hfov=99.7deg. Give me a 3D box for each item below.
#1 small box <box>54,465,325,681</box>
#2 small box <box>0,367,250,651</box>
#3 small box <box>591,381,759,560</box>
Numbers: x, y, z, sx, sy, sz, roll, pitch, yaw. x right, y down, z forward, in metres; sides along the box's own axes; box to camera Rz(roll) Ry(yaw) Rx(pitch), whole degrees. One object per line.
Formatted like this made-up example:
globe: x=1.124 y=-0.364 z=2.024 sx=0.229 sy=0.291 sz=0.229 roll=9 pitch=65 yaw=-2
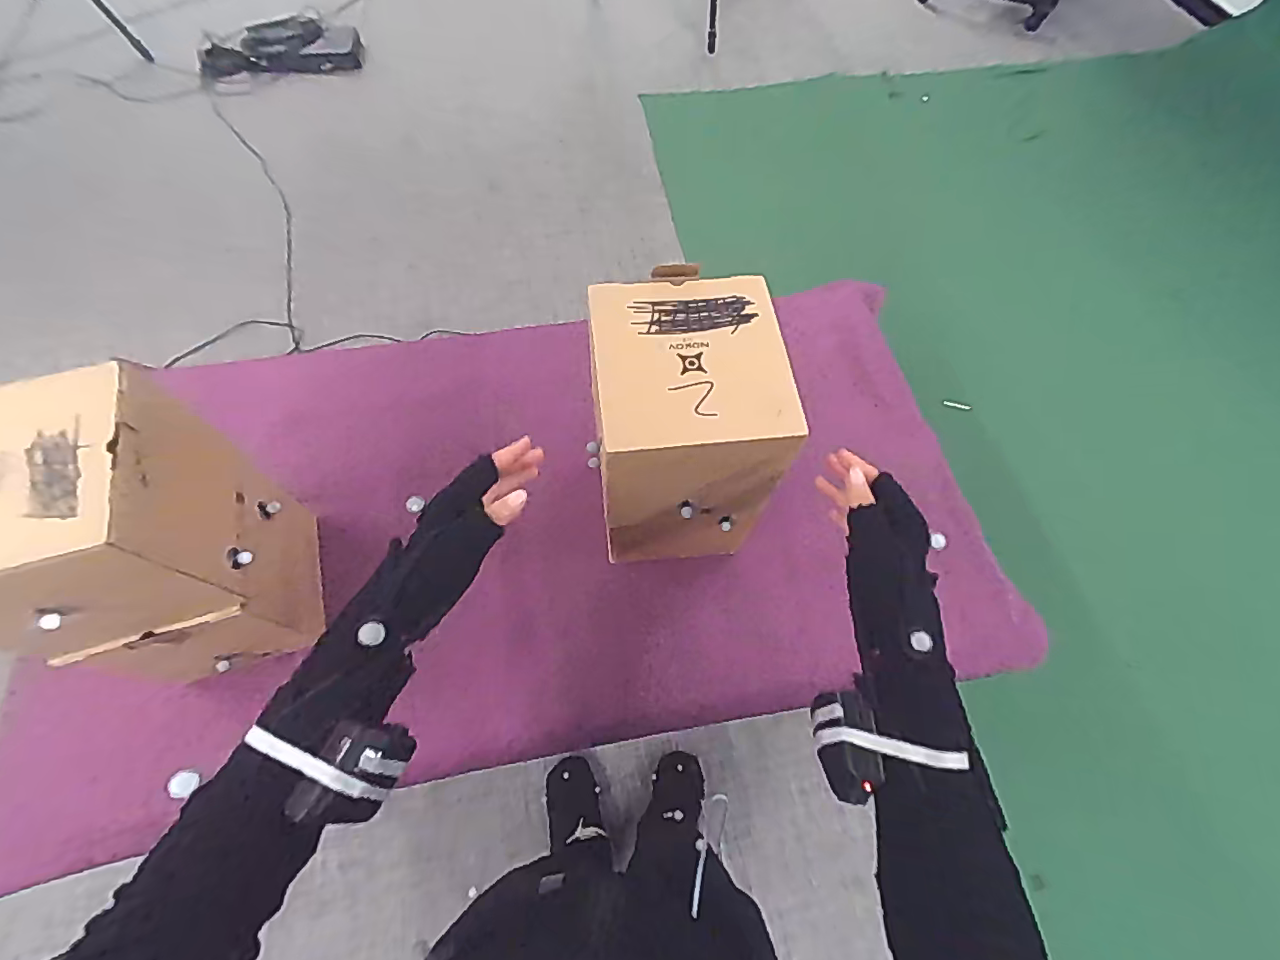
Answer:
small box: x=-0.484 y=0.110 z=0.612 sx=0.168 sy=0.176 sz=0.179 roll=-16 pitch=66 yaw=-9
small box: x=-0.474 y=0.032 z=0.464 sx=0.179 sy=0.176 sz=0.168 roll=-14 pitch=63 yaw=-9
small box: x=0.035 y=-0.005 z=0.684 sx=0.179 sy=0.176 sz=0.168 roll=-5 pitch=65 yaw=-4
